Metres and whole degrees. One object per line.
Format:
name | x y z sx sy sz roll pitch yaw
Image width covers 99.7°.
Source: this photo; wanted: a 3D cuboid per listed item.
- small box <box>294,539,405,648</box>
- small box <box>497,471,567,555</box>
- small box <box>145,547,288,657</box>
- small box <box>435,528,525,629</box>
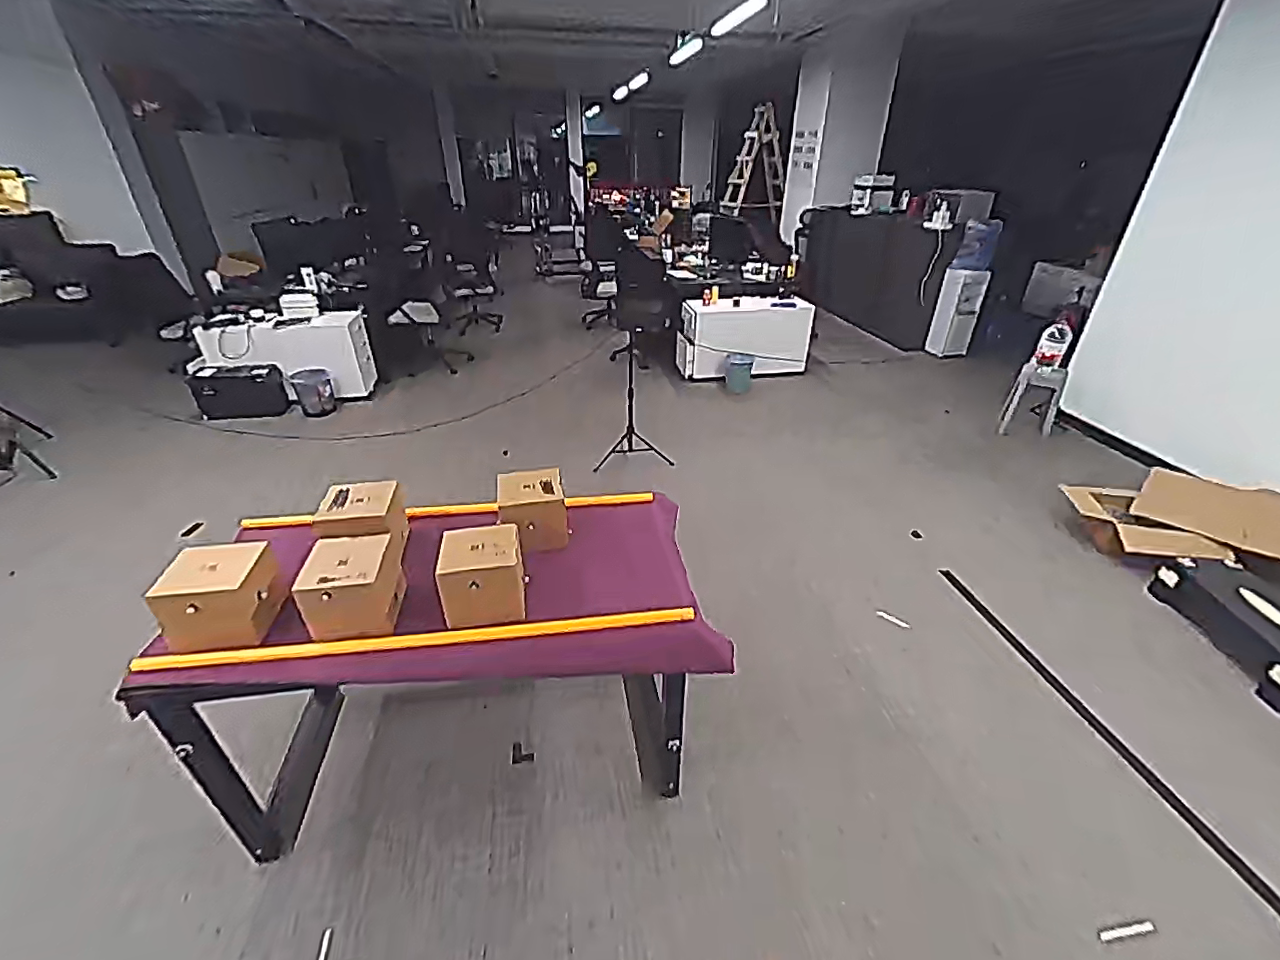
small box | -0.653 0.258 1.242 0.168 0.176 0.179 -5 31 -8
small box | -0.298 0.094 1.514 0.179 0.176 0.168 -7 33 -10
small box | -0.931 0.273 1.213 0.179 0.176 0.168 -5 31 -9
small box | -0.370 0.234 1.280 0.179 0.176 0.168 -5 30 -9
